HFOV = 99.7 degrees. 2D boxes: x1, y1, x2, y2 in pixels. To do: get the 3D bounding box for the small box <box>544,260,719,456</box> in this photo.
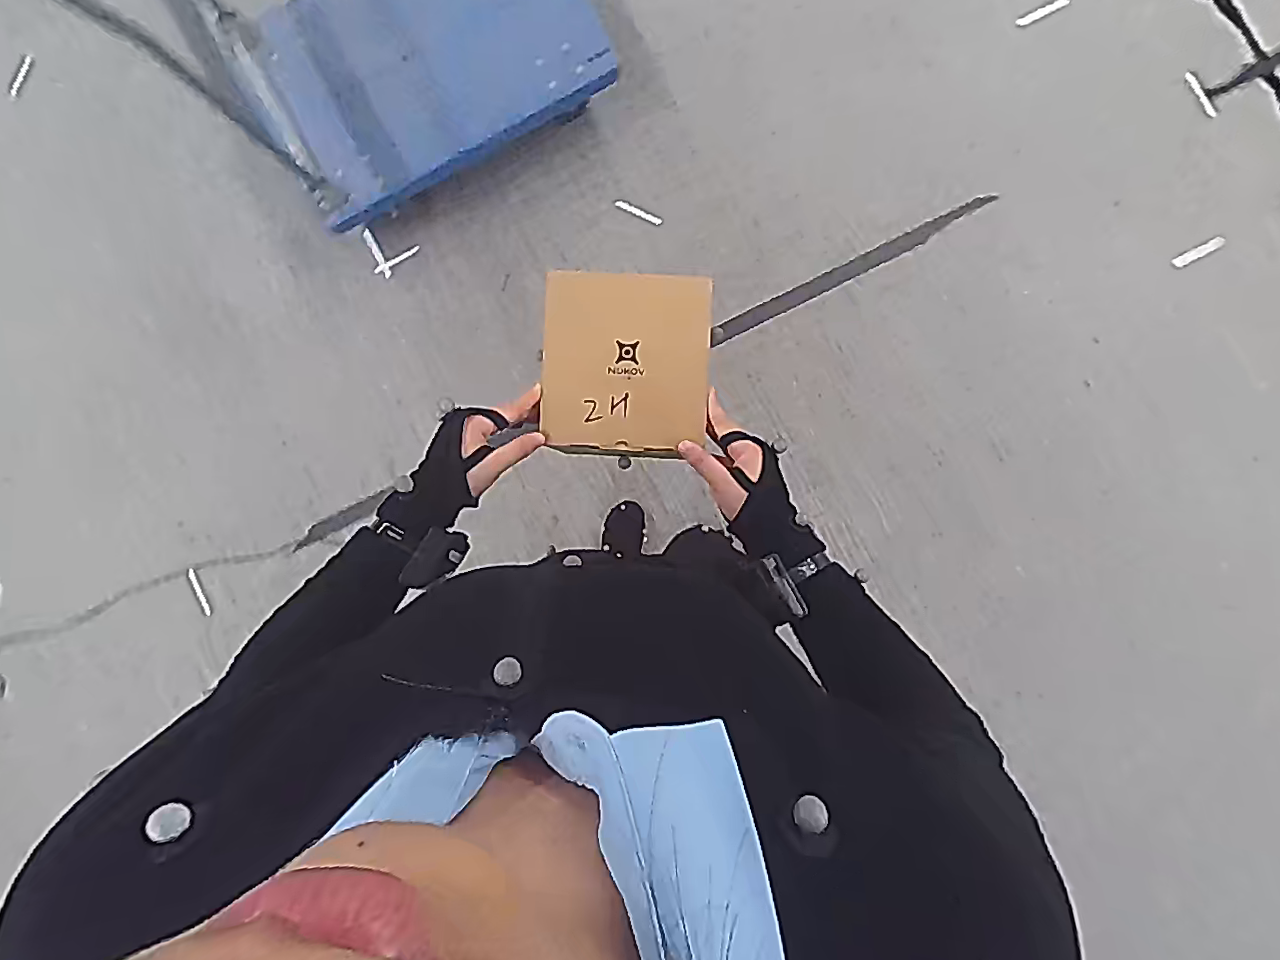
[{"bbox_3d":[-0.008,-0.122,0.604,0.168,0.176,0.179,2,90,1],"label":"small box"}]
